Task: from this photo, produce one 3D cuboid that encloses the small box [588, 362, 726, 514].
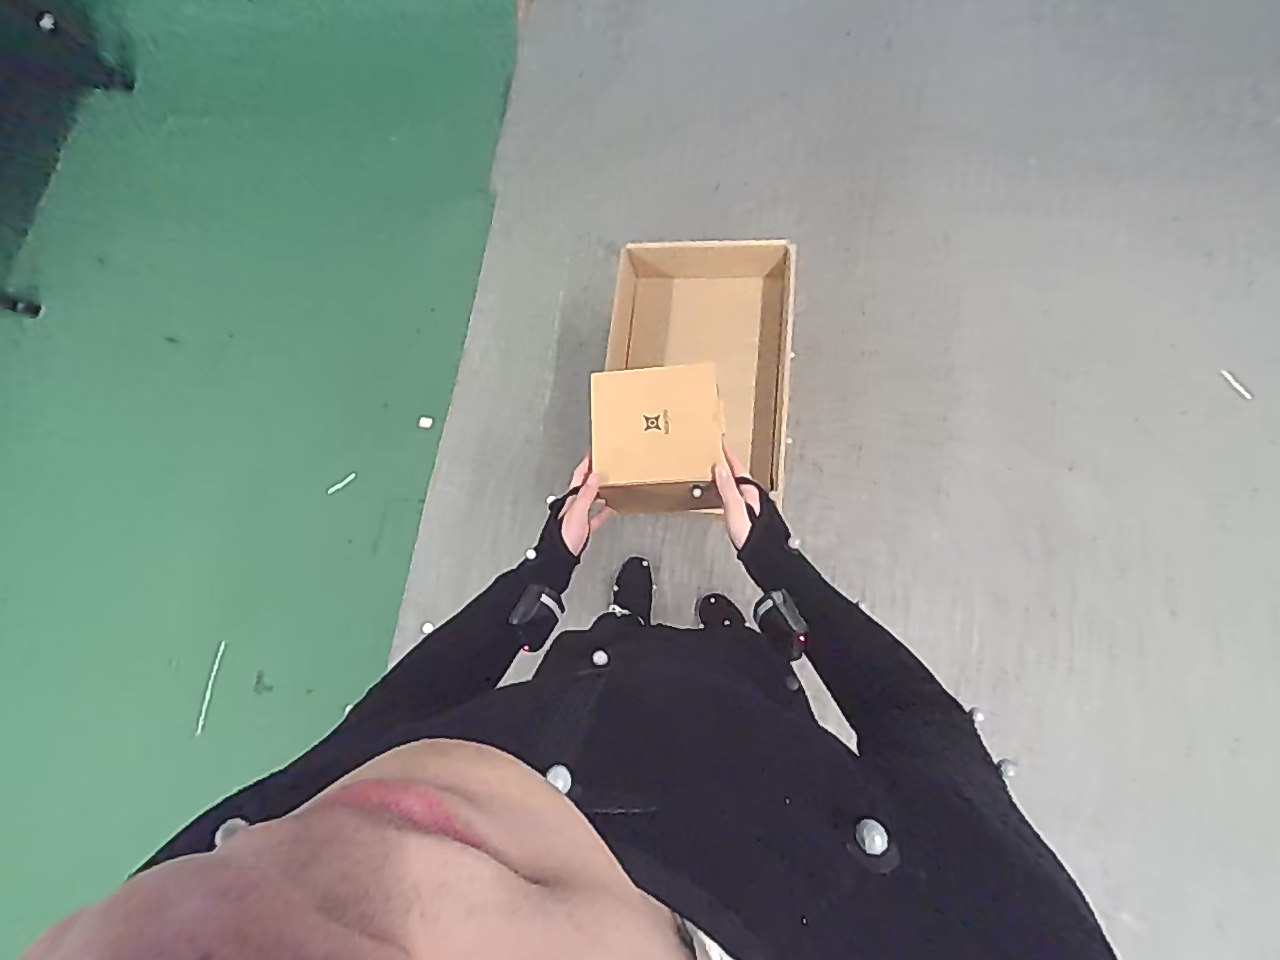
[{"bbox_3d":[0.027,-0.051,0.787,0.179,0.176,0.168,-5,73,3],"label":"small box"}]
